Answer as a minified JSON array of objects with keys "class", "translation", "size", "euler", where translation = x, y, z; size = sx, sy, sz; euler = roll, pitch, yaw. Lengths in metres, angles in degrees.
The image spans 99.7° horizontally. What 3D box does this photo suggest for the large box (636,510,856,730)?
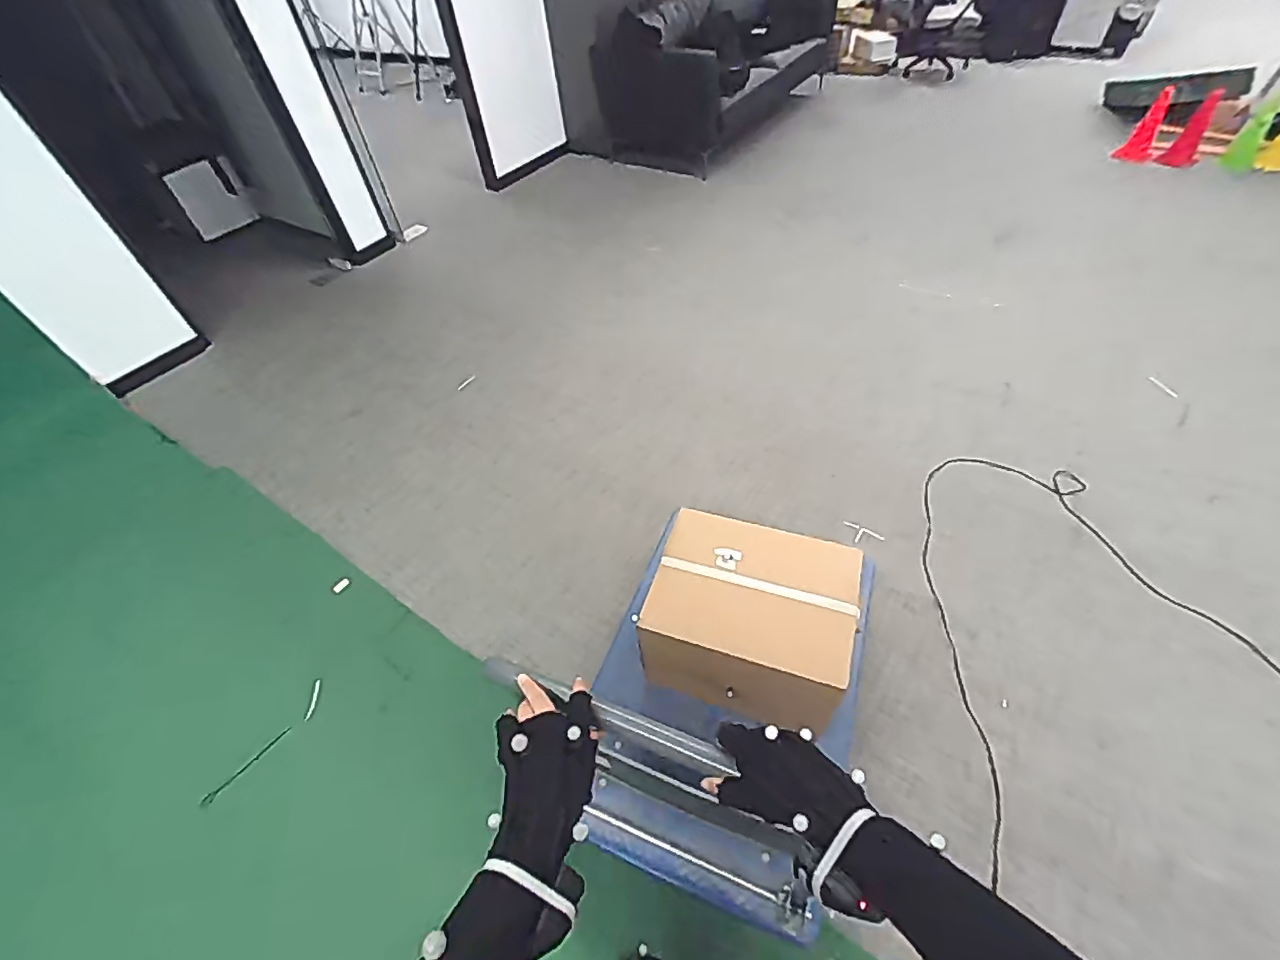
[{"class":"large box","translation":[0.240,0.314,1.222],"size":[0.408,0.320,0.320],"euler":[12,51,16]}]
